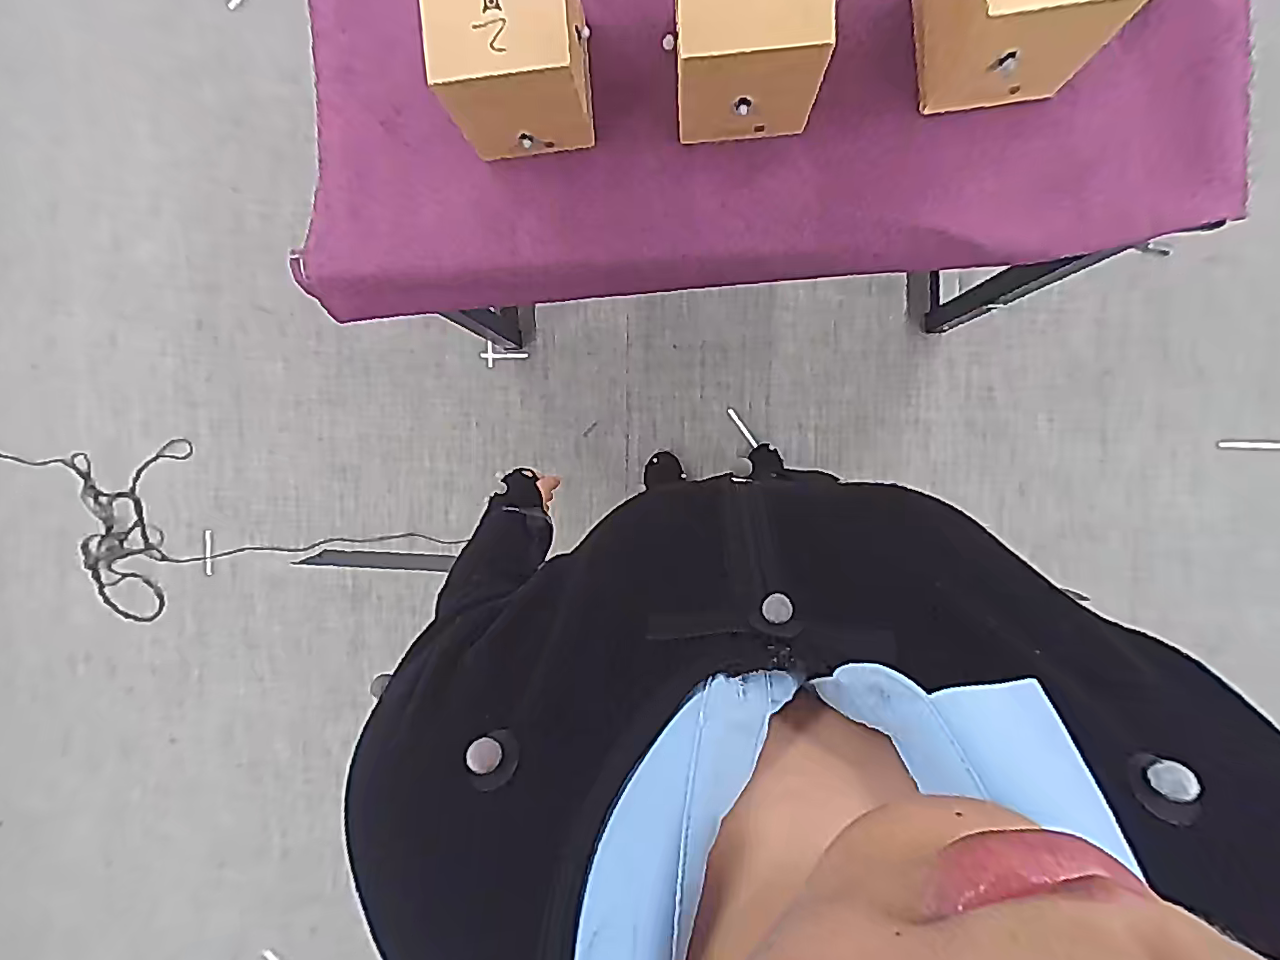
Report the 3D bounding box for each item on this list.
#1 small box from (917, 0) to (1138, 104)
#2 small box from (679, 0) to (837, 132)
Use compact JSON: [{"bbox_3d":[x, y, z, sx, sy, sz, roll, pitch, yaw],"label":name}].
[{"bbox_3d":[0.439,-0.572,0.624,0.168,0.176,0.179,-5,91,6],"label":"small box"},{"bbox_3d":[0.131,-0.550,0.651,0.168,0.176,0.179,-2,93,4],"label":"small box"}]
